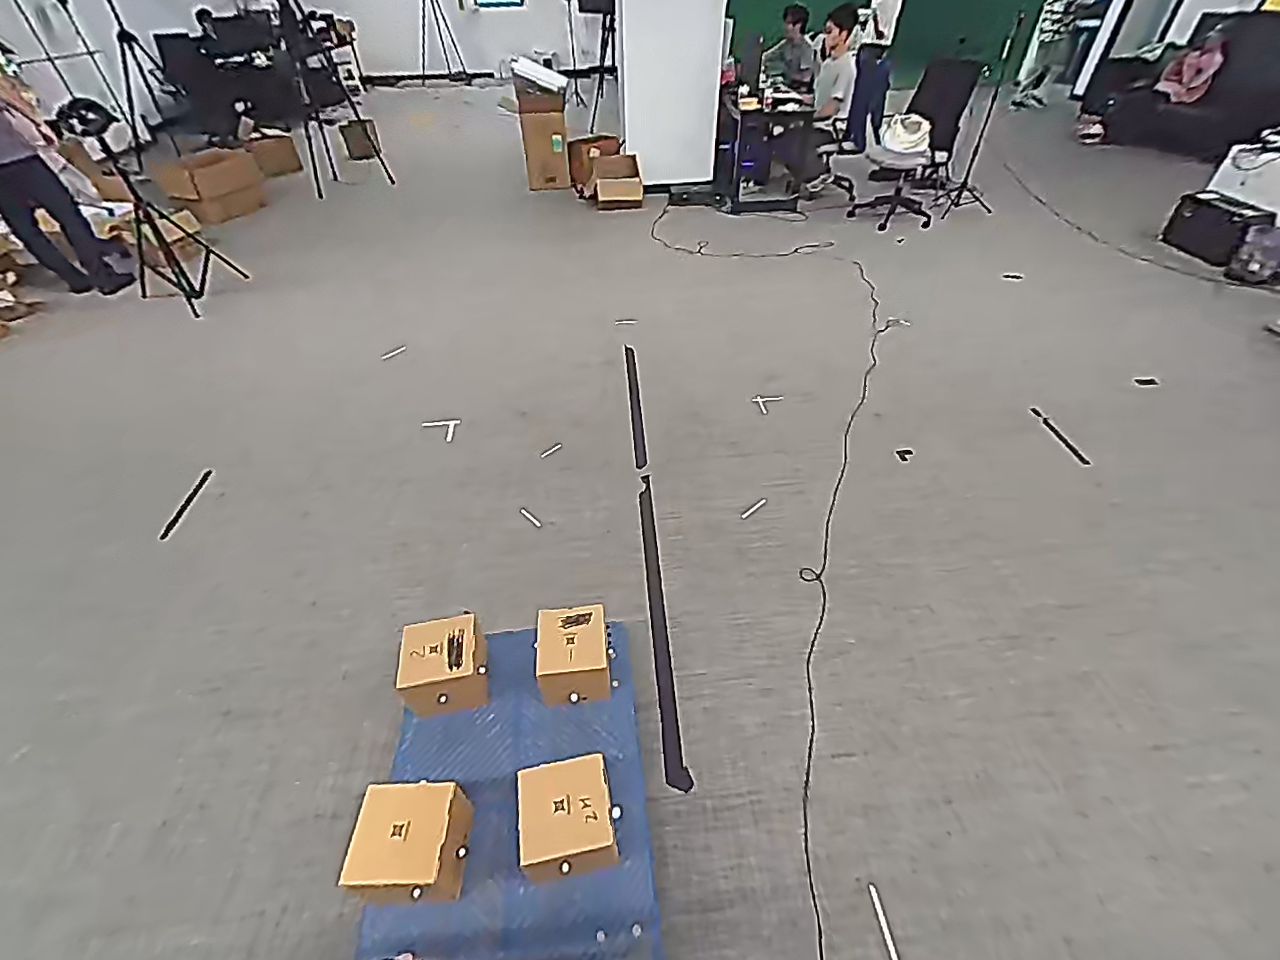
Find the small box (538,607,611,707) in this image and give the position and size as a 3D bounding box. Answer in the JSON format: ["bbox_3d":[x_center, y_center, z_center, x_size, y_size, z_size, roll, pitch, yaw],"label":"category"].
[{"bbox_3d":[-0.160,0.444,1.357,0.168,0.176,0.179,-5,45,-3],"label":"small box"}]

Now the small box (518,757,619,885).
[{"bbox_3d":[-0.144,0.692,1.095,0.179,0.176,0.168,-8,44,-7],"label":"small box"}]

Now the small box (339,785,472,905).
[{"bbox_3d":[-0.450,0.724,1.072,0.179,0.176,0.168,0,42,-2],"label":"small box"}]
